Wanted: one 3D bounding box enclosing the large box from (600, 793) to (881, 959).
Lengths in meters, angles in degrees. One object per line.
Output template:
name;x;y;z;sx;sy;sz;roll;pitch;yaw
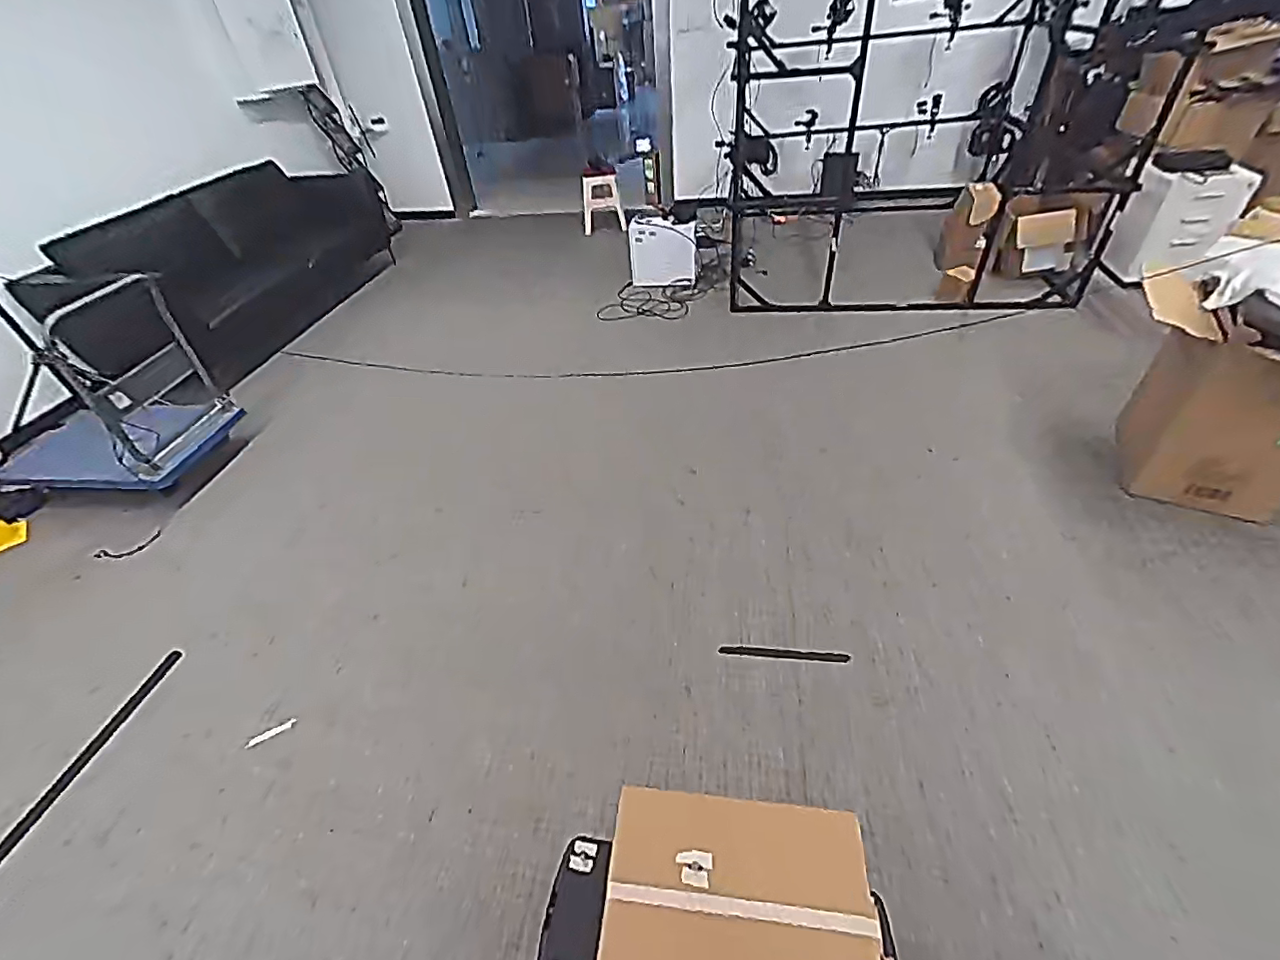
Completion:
large box;0.162;0.763;0.907;0.408;0.320;0.320;1;41;10
